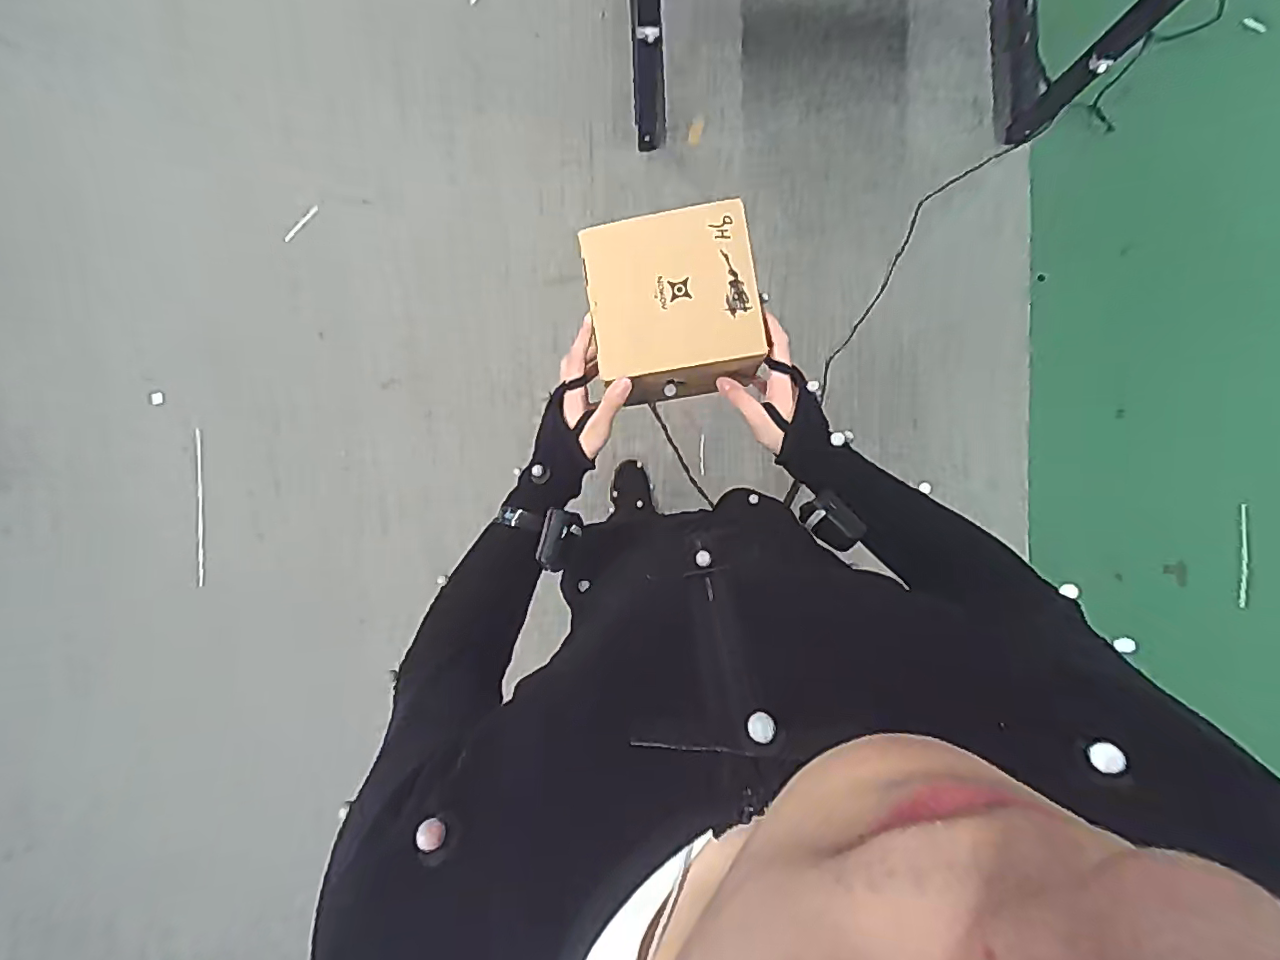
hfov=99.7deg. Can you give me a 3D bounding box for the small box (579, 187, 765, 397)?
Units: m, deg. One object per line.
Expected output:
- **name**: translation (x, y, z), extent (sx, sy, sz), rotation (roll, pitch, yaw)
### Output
- **small box**: translation (0.039, -0.201, 0.629), extent (0.179, 0.176, 0.168), rotation (-8, 87, 5)

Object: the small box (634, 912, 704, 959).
- **small box**: translation (0.075, 1.244, 1.376), extent (0.179, 0.176, 0.168), rotation (-2, 89, 2)
